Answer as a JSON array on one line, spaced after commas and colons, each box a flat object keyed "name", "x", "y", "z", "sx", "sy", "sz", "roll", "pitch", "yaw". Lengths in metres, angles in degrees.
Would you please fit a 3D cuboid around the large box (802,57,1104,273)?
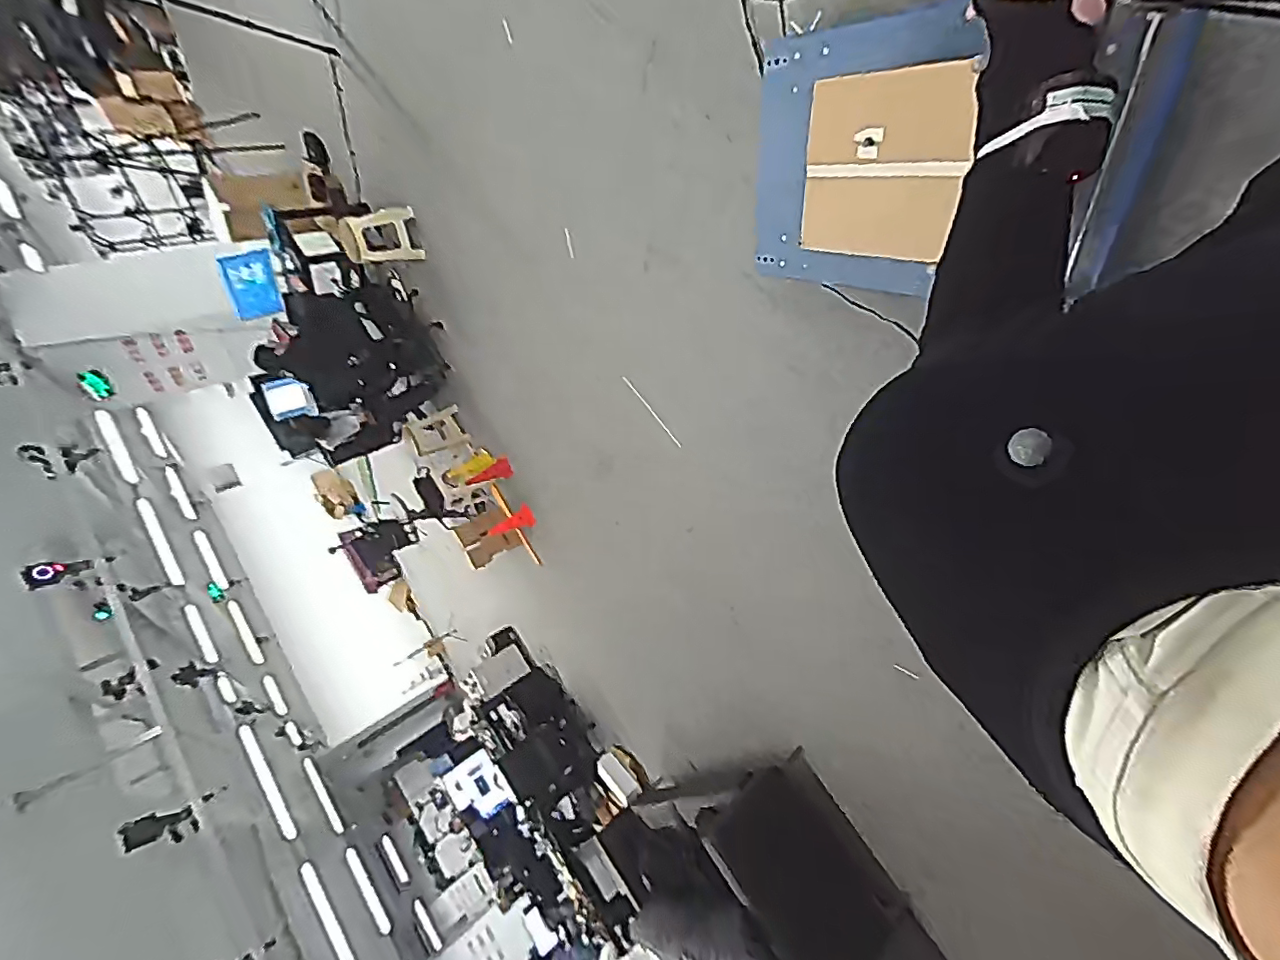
[{"name": "large box", "x": 0.599, "y": -0.625, "z": 1.089, "sx": 0.408, "sy": 0.320, "sz": 0.320, "roll": 30, "pitch": 134, "yaw": 42}]
